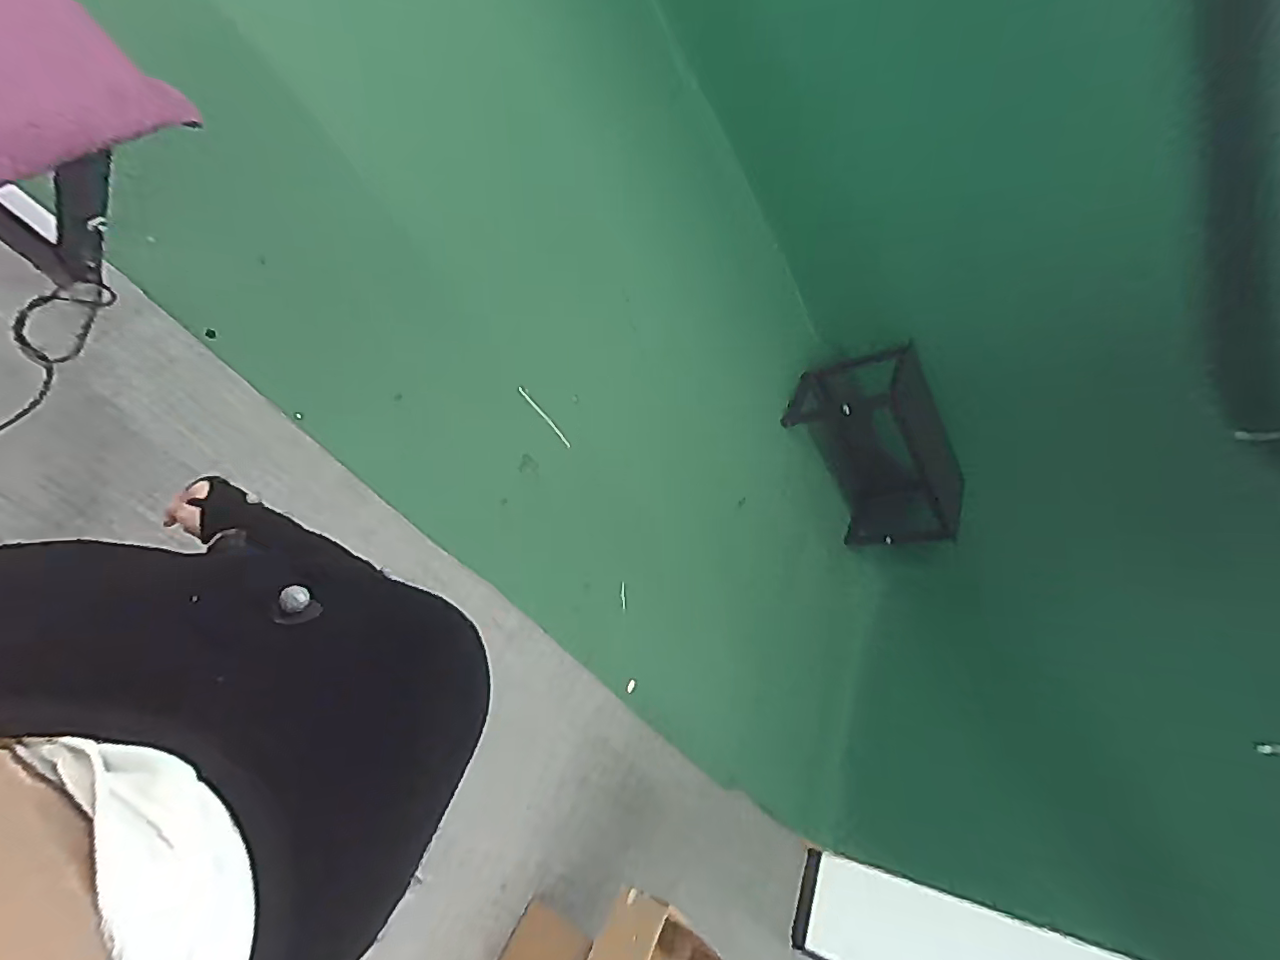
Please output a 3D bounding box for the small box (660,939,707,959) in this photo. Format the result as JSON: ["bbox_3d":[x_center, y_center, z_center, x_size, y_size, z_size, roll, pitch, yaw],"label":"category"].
[{"bbox_3d":[0.150,1.437,1.512,0.179,0.176,0.168,54,48,-28],"label":"small box"}]
